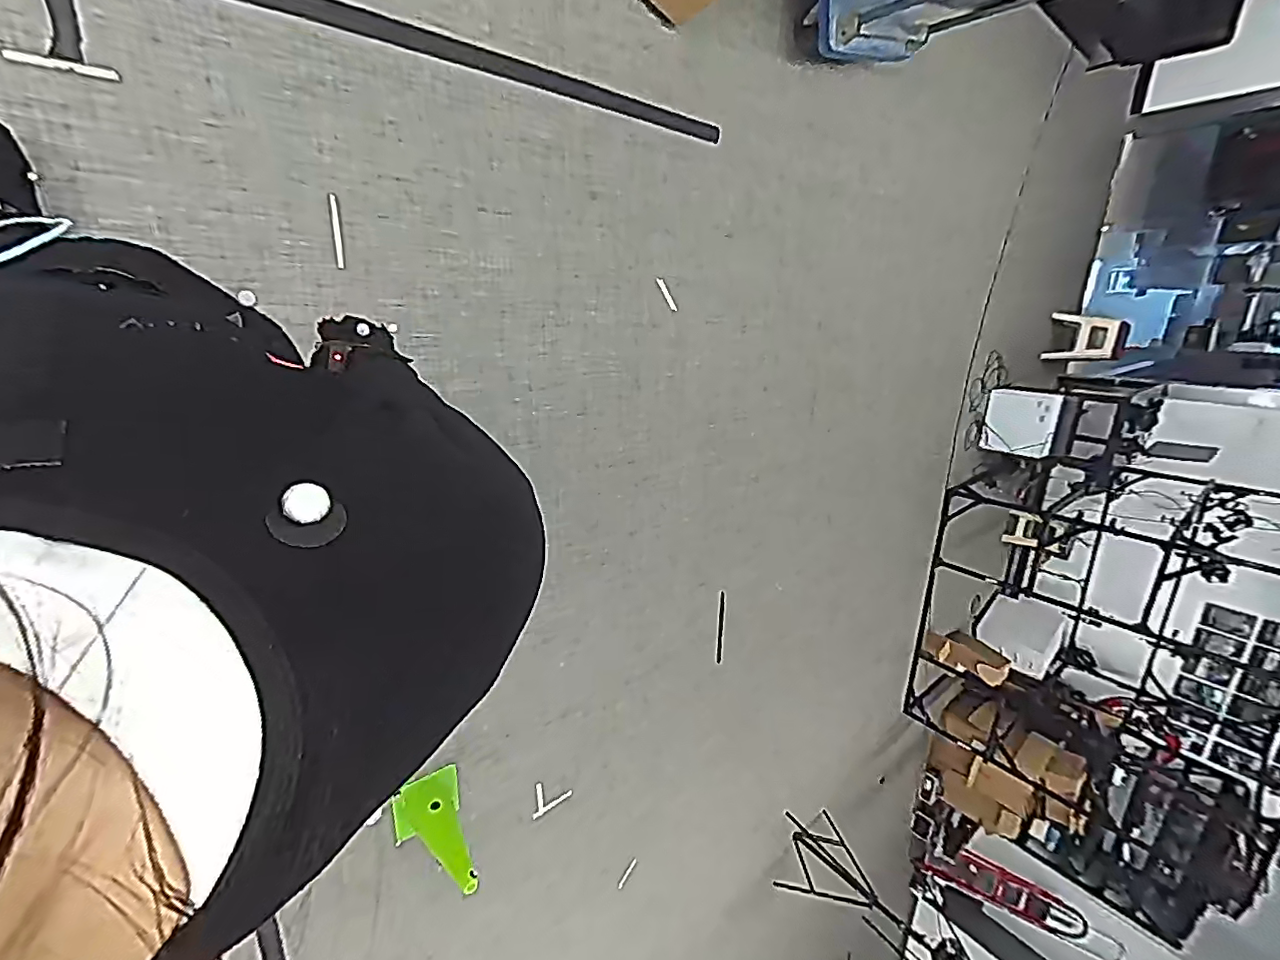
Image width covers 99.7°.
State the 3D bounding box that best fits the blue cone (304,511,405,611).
[{"bbox_3d":[-0.642,0.219,1.267,0.192,0.380,0.193,-8,109,-41],"label":"blue cone"}]

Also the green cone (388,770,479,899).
[{"bbox_3d":[-0.575,1.079,1.587,0.202,0.368,0.200,-12,112,-40],"label":"green cone"}]
